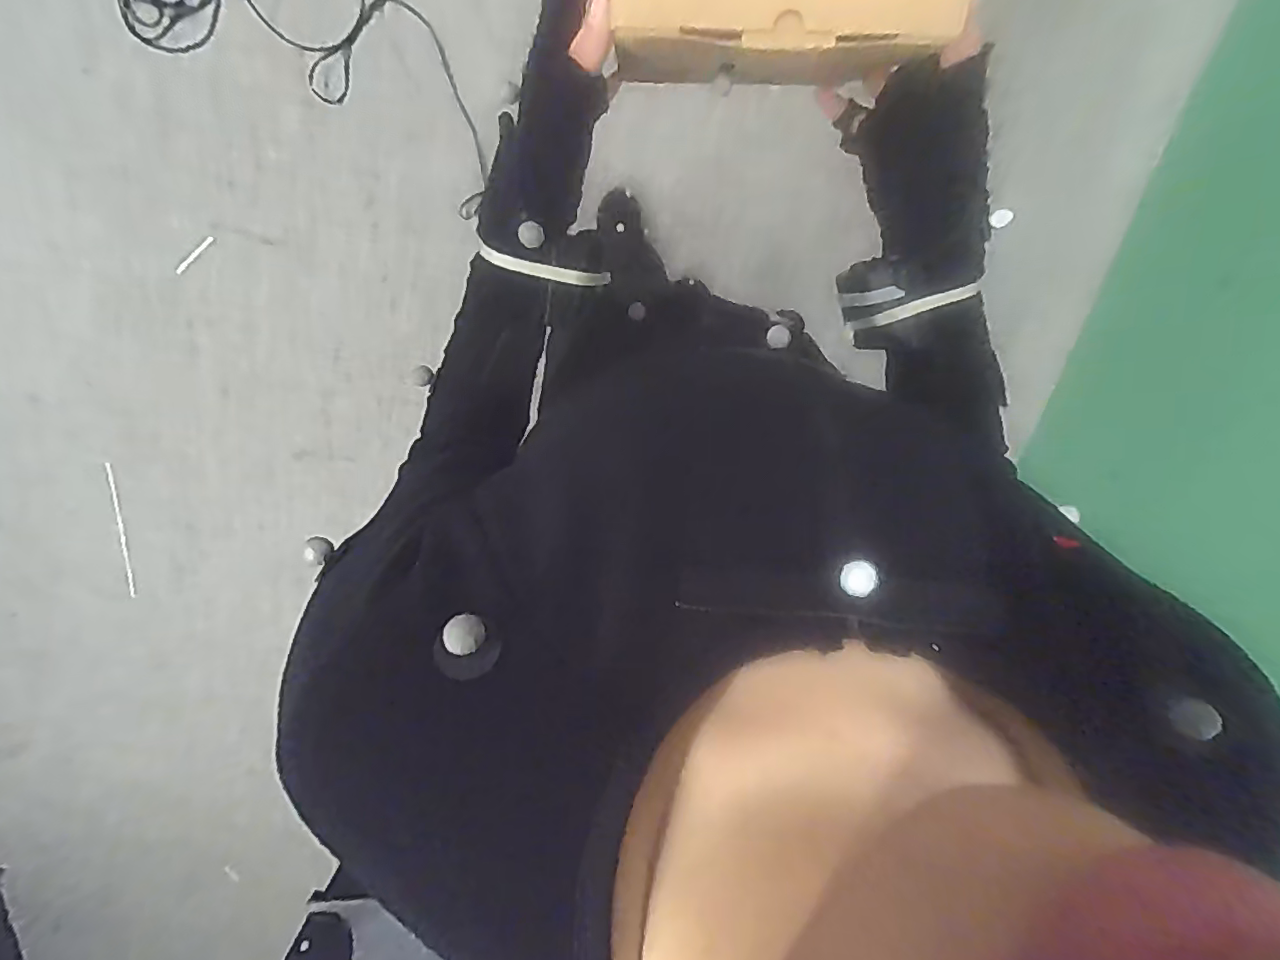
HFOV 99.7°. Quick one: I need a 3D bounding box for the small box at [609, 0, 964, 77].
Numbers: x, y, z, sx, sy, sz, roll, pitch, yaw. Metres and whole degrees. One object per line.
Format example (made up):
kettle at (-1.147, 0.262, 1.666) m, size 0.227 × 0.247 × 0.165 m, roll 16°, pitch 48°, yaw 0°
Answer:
small box at (0.066, -0.325, 0.273) m, size 0.168 × 0.176 × 0.179 m, roll 1°, pitch 121°, yaw 0°
